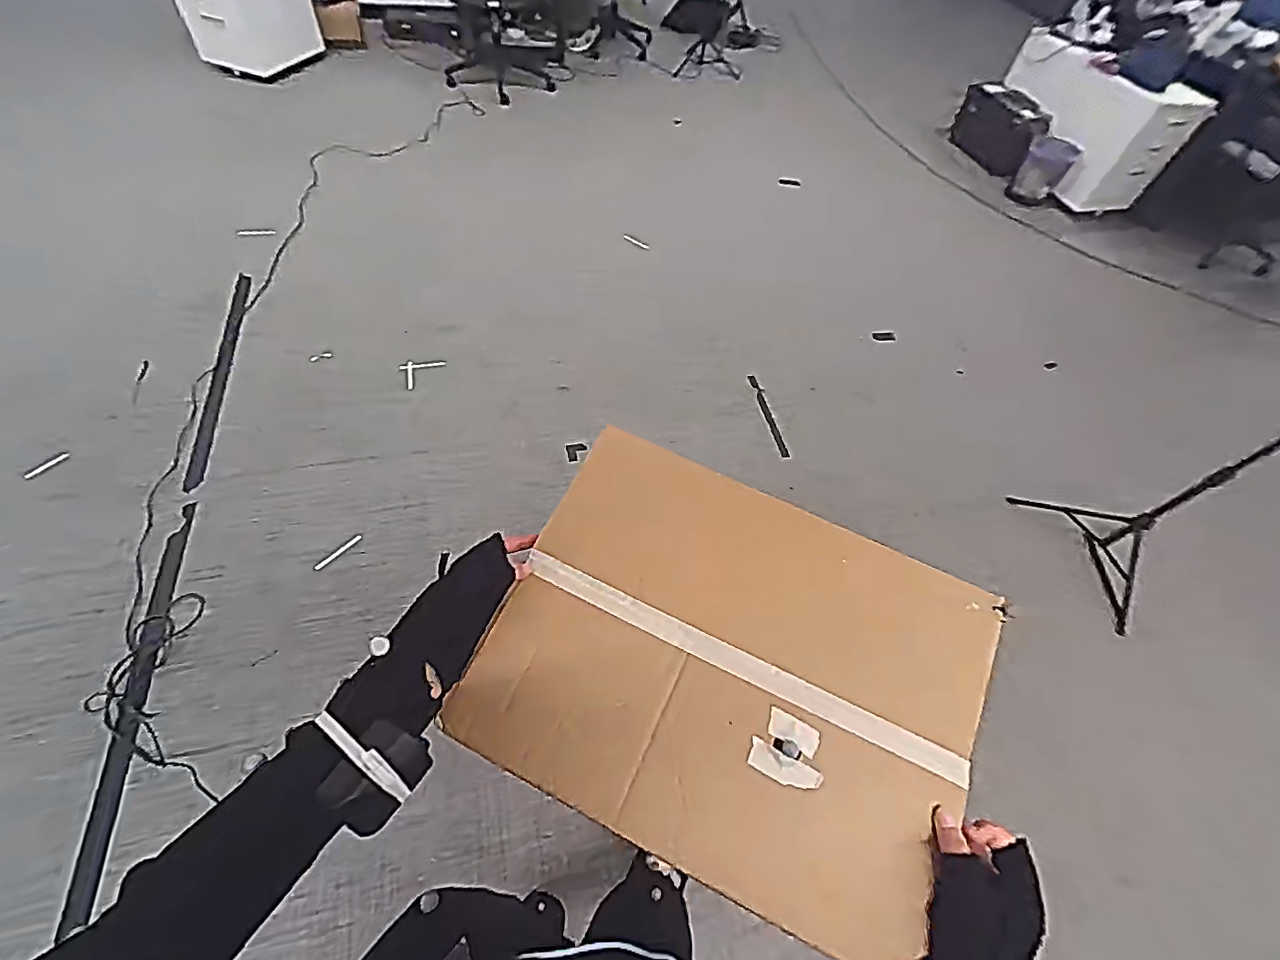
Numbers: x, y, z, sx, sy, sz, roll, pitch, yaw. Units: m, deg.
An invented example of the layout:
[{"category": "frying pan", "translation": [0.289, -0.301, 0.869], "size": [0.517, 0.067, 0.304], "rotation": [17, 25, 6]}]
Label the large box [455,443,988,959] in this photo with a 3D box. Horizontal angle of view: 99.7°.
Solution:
[{"category": "large box", "translation": [0.079, 0.221, 0.617], "size": [0.408, 0.320, 0.320], "rotation": [25, 69, 9]}]
